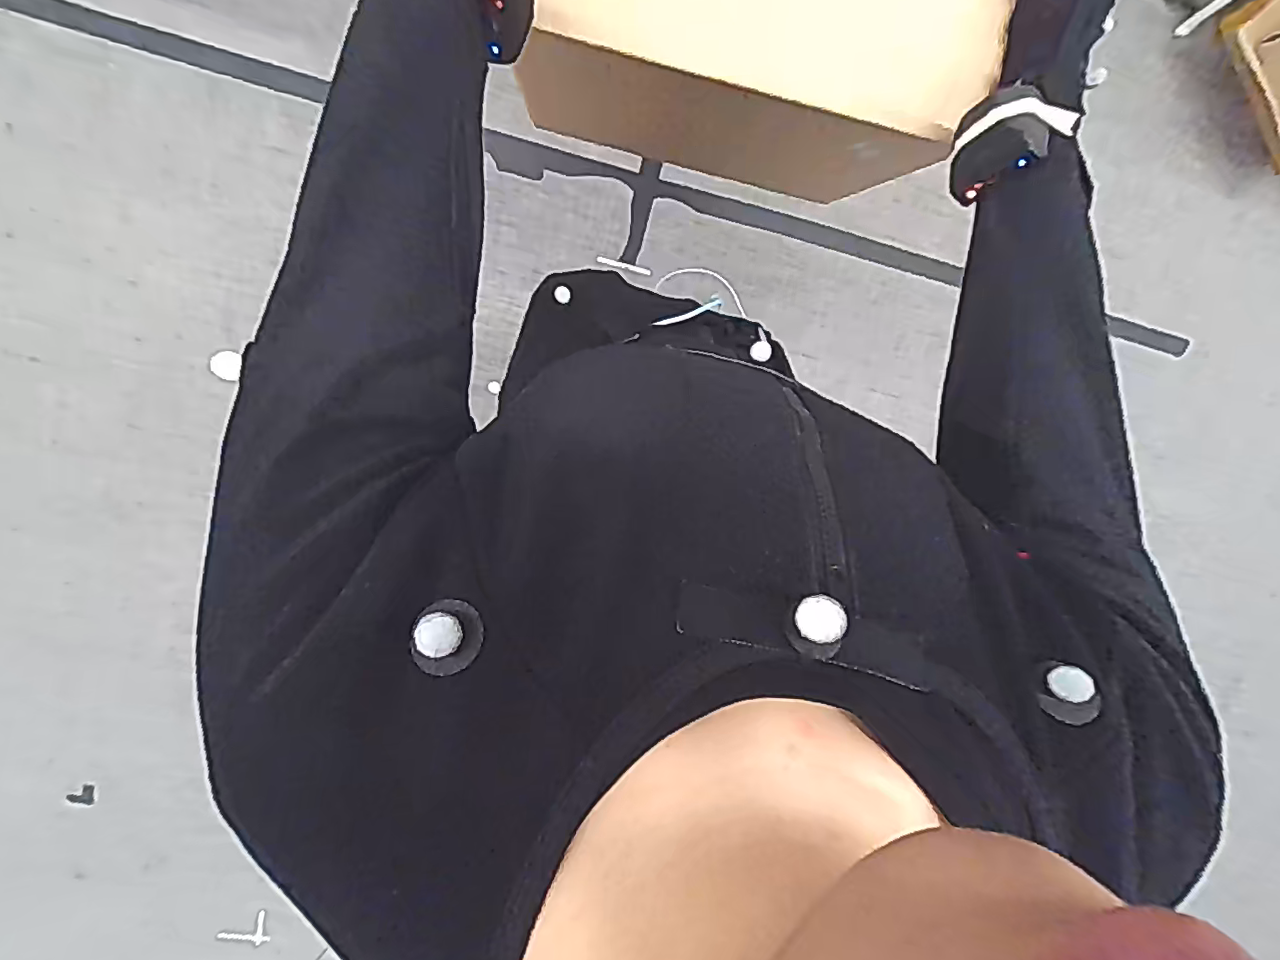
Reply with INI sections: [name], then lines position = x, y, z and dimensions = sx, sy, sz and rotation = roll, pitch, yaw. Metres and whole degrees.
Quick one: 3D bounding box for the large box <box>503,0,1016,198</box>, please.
[large box]
position = 0.104, -0.509, 0.530
dimensions = 0.408, 0.320, 0.320
rotation = 10, 109, -8
